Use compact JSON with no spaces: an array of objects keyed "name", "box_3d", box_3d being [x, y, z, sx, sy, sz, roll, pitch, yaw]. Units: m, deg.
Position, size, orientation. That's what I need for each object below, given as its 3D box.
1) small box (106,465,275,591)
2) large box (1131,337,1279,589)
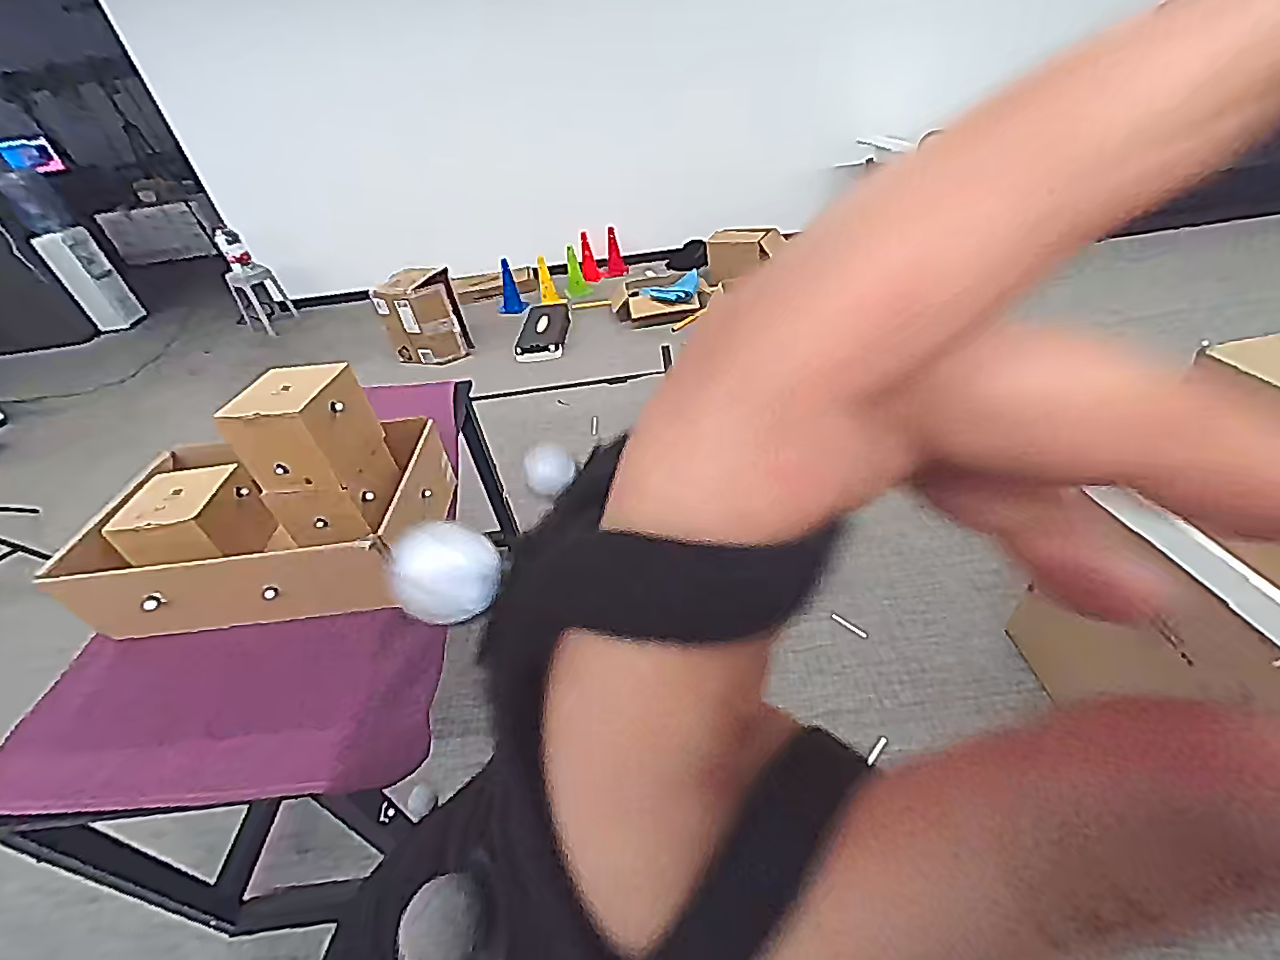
[{"name":"small box","box_3d":[-0.872,0.094,1.077,0.168,0.176,0.179,-8,38,-2]},{"name":"large box","box_3d":[1.225,-0.026,0.945,0.320,0.320,0.408,-9,38,-2]}]
